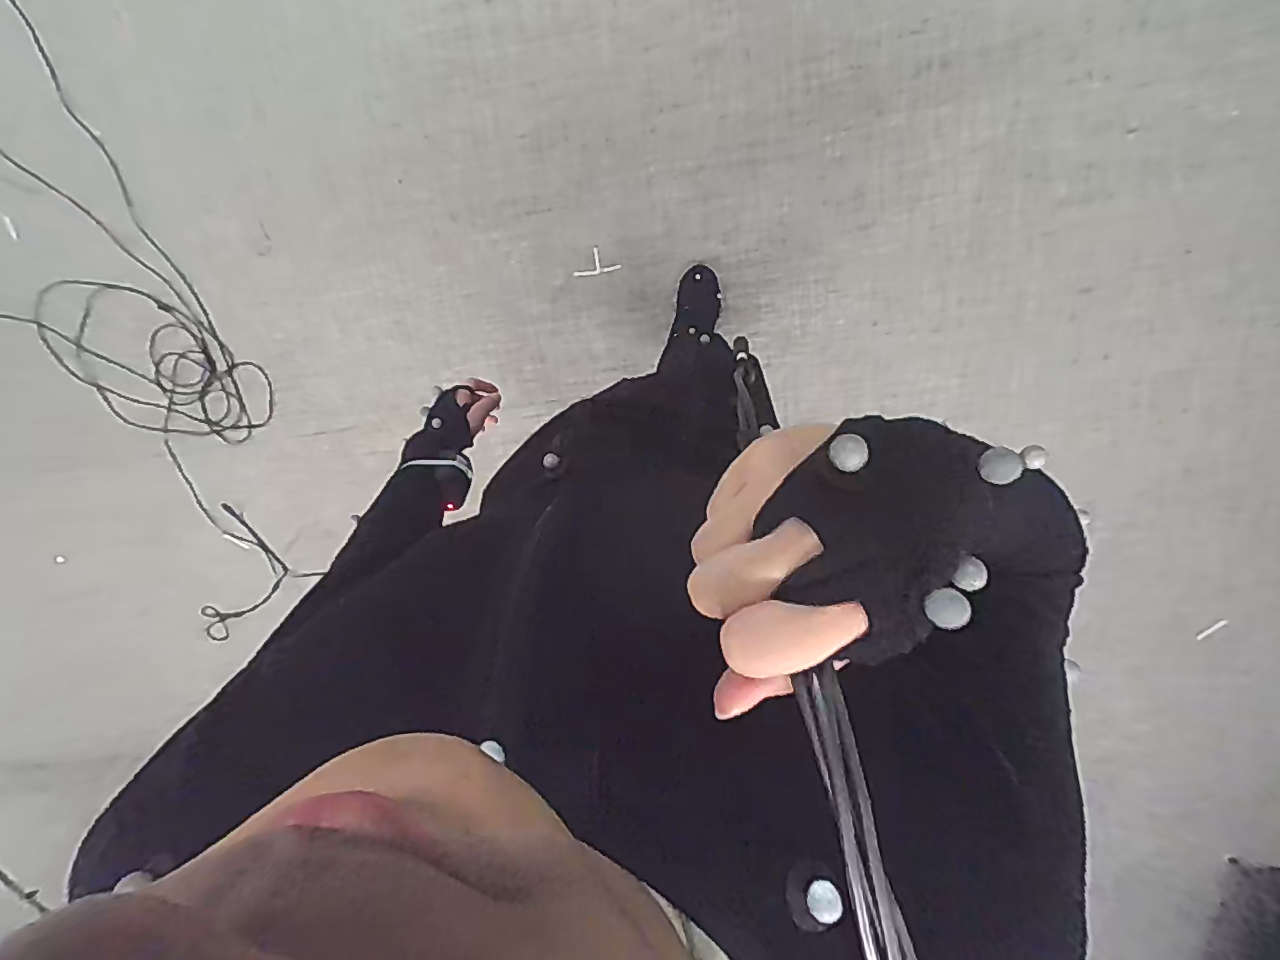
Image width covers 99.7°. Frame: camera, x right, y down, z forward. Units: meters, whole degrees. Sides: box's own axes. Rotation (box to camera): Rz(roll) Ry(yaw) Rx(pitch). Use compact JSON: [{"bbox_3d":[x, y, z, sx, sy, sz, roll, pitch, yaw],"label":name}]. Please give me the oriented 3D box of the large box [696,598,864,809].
[{"bbox_3d":[0.371,0.607,1.503,0.320,0.320,0.408,-20,108,12],"label":"large box"}]
